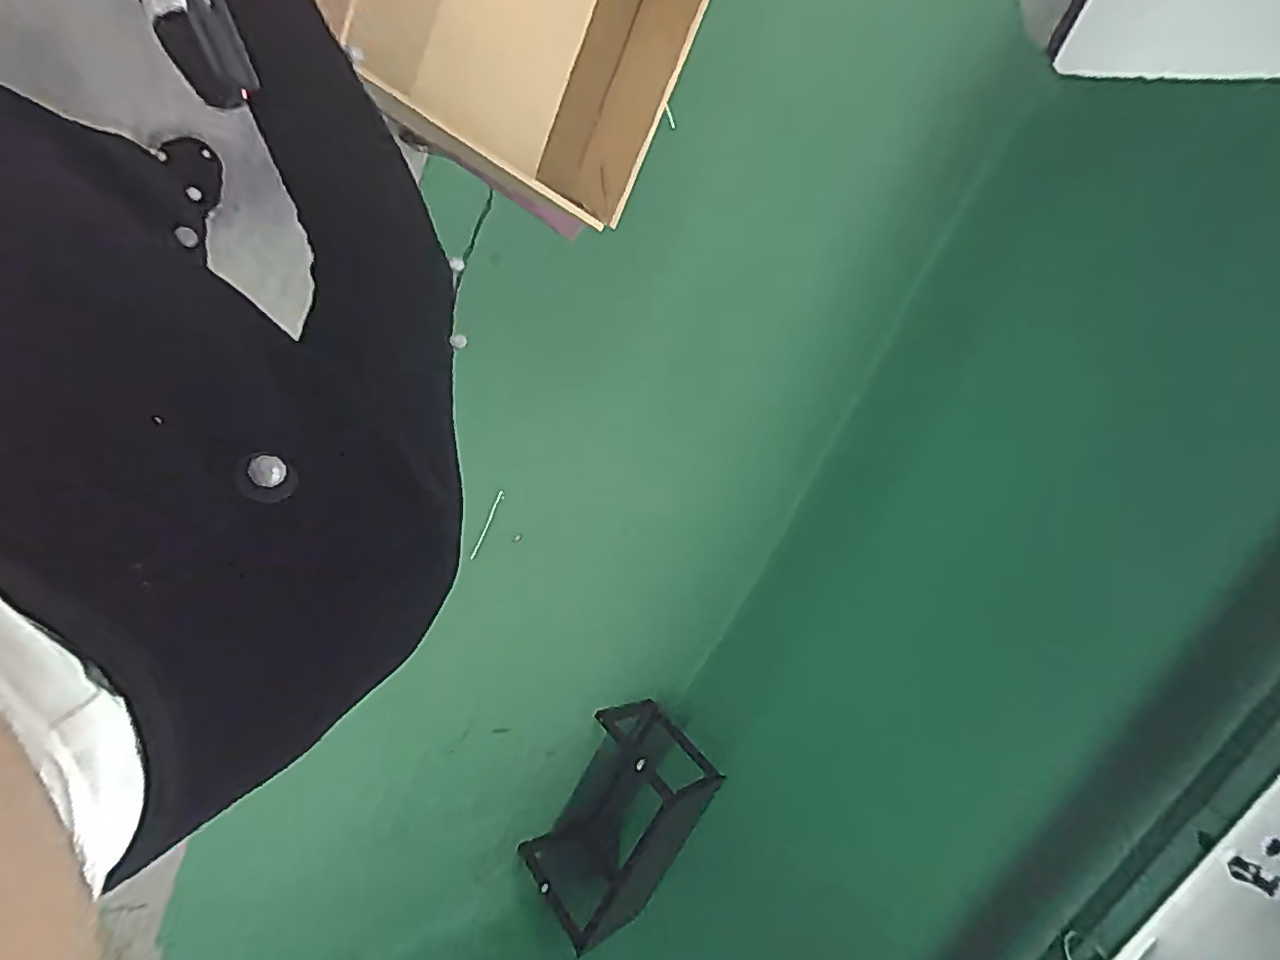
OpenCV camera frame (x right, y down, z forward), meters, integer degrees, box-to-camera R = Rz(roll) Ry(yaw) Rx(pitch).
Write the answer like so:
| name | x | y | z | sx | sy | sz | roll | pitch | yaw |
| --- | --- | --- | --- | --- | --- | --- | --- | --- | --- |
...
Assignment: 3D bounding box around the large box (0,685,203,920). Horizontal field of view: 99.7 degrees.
| name | x | y | z | sx | sy | sz | roll | pitch | yaw |
| --- | --- | --- | --- | --- | --- | --- | --- | --- | --- |
| large box | -1.527 | 0.858 | 1.480 | 0.408 | 0.320 | 0.320 | -27 | 136 | -32 |
